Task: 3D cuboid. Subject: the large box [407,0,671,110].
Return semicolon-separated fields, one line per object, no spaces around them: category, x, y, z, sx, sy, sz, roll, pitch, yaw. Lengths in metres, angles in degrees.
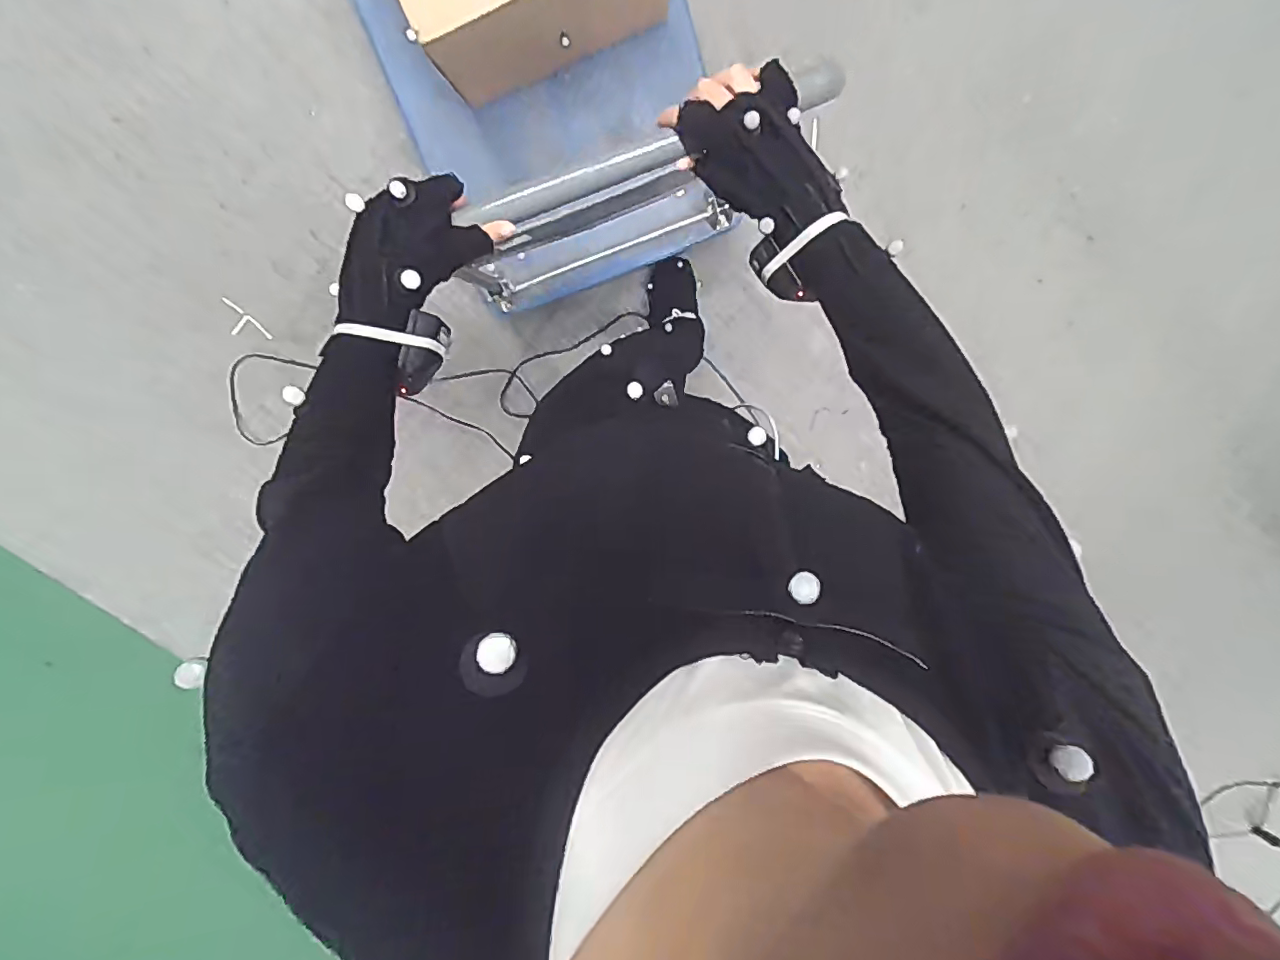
large box;-0.179;-0.868;0.843;0.408;0.320;0.320;-22;108;6
